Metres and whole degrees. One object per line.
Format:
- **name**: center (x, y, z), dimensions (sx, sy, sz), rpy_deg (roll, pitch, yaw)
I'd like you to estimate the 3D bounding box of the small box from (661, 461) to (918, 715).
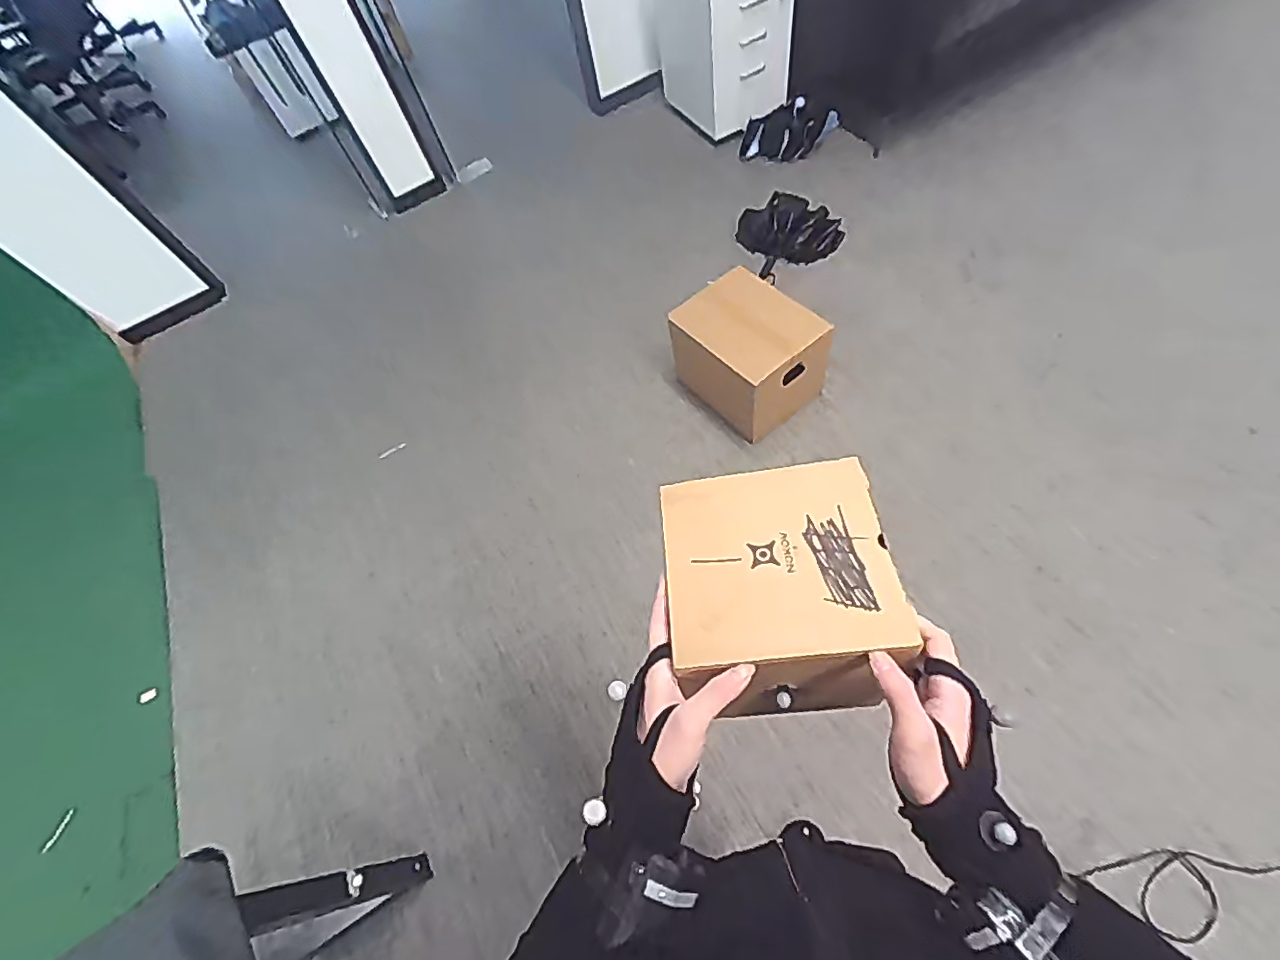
- **small box**: center (0.119, 0.106, 0.493), dimensions (0.179, 0.176, 0.168), rpy_deg (-8, 53, 7)
